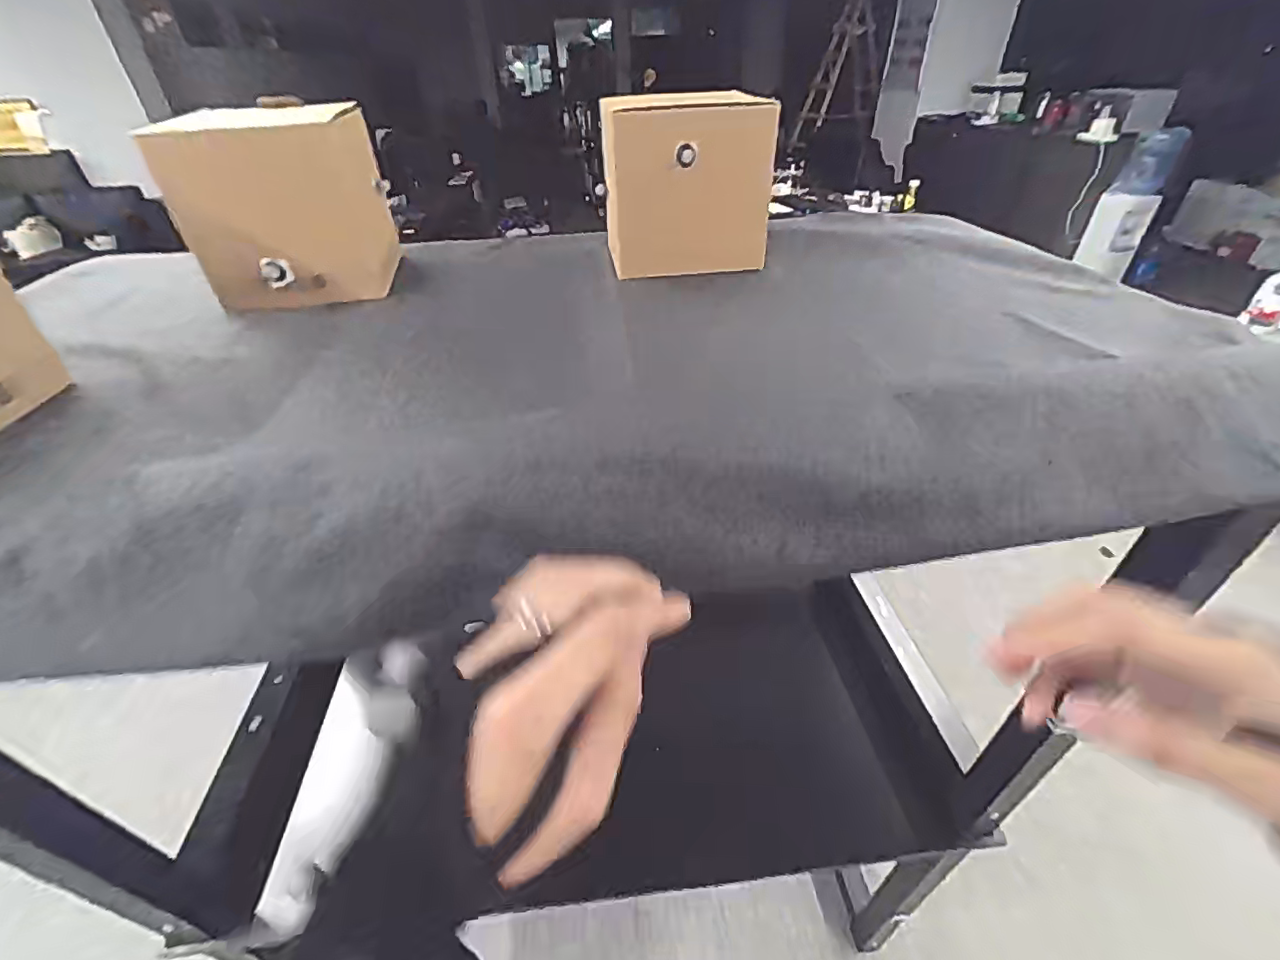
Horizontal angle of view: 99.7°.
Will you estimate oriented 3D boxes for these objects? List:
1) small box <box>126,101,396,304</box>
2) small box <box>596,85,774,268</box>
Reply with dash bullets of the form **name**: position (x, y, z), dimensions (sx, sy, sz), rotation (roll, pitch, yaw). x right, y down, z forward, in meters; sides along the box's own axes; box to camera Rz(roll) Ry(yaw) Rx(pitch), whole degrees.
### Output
- **small box**: position (-0.383, -0.306, 0.592), dimensions (0.168, 0.176, 0.179), rotation (-10, 39, -9)
- **small box**: position (0.044, -0.361, 0.644), dimensions (0.179, 0.176, 0.168), rotation (-5, 39, -4)
